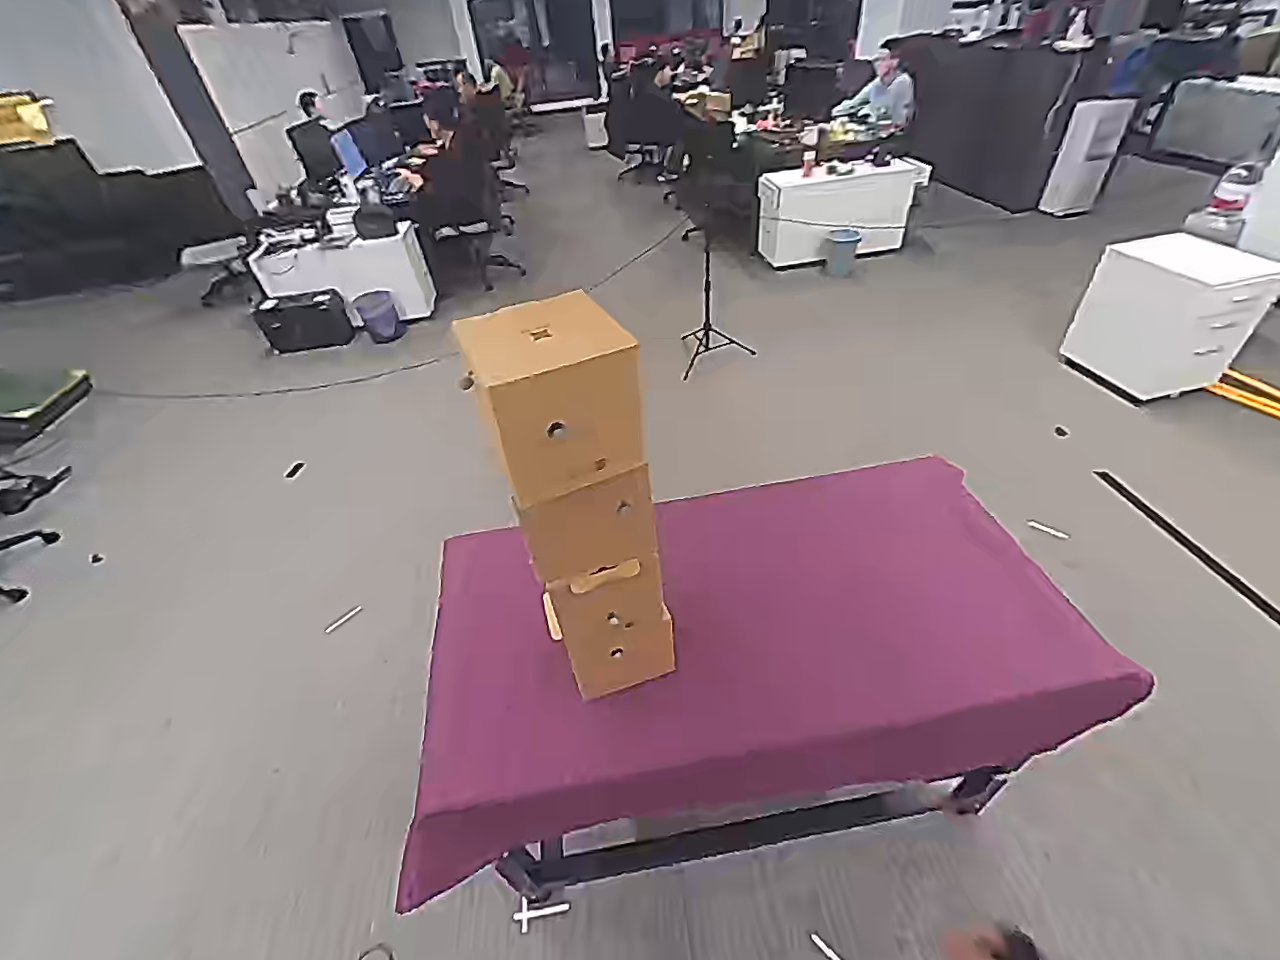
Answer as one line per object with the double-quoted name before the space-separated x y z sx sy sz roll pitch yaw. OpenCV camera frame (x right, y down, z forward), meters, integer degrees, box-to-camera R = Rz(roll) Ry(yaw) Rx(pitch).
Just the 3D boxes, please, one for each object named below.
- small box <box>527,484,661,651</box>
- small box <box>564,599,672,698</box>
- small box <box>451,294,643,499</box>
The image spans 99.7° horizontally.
"small box" -0.074 0.140 0.875 0.168 0.176 0.179 -17 42 -11
"small box" -0.050 0.265 0.980 0.179 0.176 0.168 -15 42 -11
"small box" -0.106 -0.097 0.650 0.168 0.176 0.179 -21 42 -17
